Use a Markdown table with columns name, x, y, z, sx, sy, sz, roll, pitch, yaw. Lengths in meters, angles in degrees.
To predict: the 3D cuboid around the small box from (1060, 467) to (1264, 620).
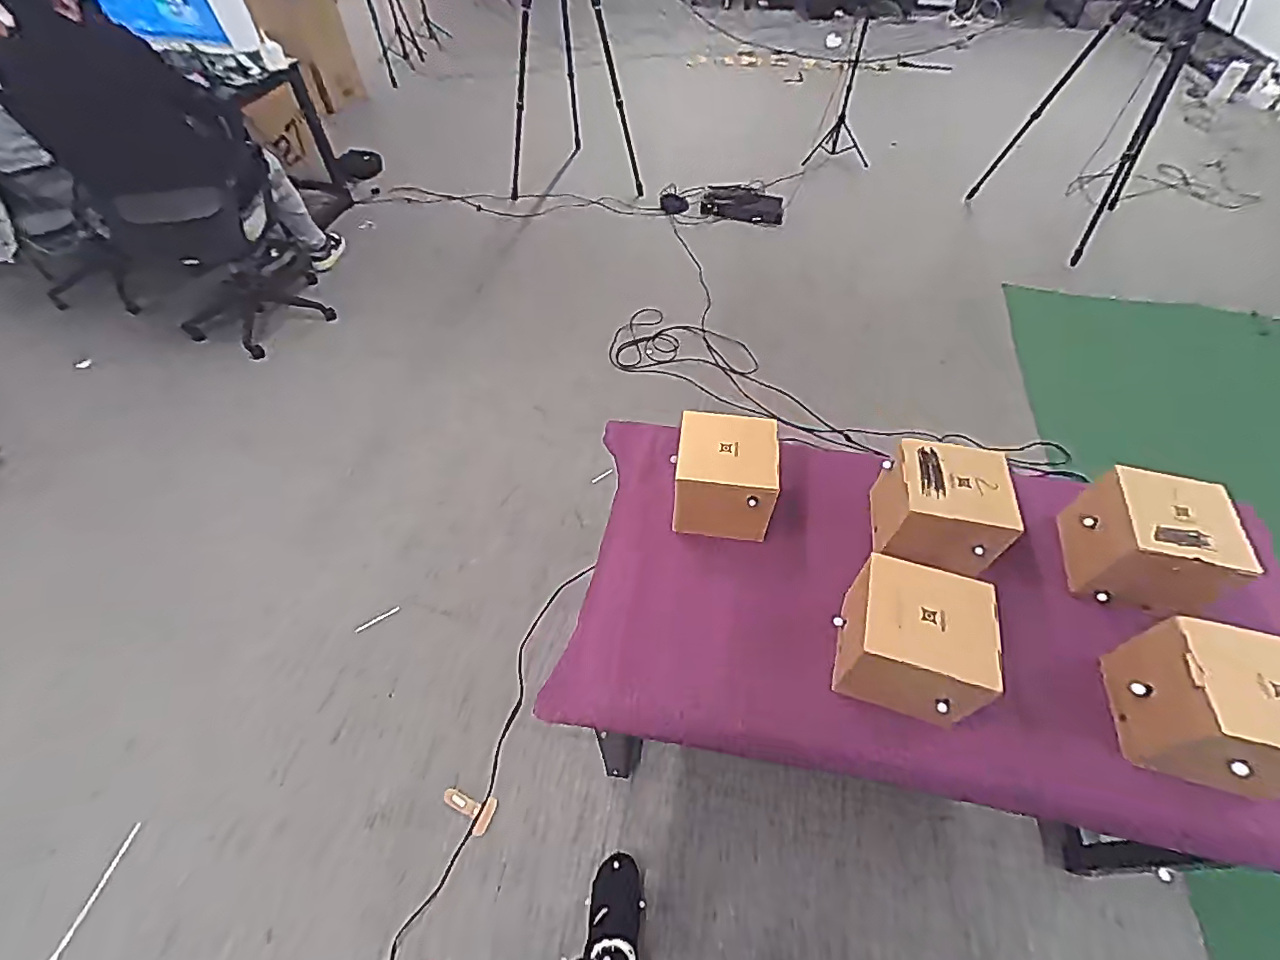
| name | x | y | z | sx | sy | sz | roll | pitch | yaw |
| --- | --- | --- | --- | --- | --- | --- | --- | --- | --- |
| small box | 0.855 | 0.111 | 0.911 | 0.168 | 0.176 | 0.179 | 14 | 52 | 11 |

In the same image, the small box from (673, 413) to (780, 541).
| name | x | y | z | sx | sy | sz | roll | pitch | yaw |
| --- | --- | --- | --- | --- | --- | --- | --- | --- | --- |
| small box | 0.157 | -0.002 | 1.005 | 0.179 | 0.176 | 0.168 | 6 | 52 | 4 |

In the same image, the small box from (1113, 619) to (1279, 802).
| name | x | y | z | sx | sy | sz | roll | pitch | yaw |
| --- | --- | --- | --- | --- | --- | --- | --- | --- | --- |
| small box | 0.805 | 0.320 | 0.746 | 0.179 | 0.176 | 0.168 | 13 | 52 | 11 |

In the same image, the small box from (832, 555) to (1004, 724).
| name | x | y | z | sx | sy | sz | roll | pitch | yaw |
| --- | --- | --- | --- | --- | --- | --- | --- | --- | --- |
| small box | 0.407 | 0.244 | 0.810 | 0.179 | 0.176 | 0.168 | 15 | 52 | 13 |
